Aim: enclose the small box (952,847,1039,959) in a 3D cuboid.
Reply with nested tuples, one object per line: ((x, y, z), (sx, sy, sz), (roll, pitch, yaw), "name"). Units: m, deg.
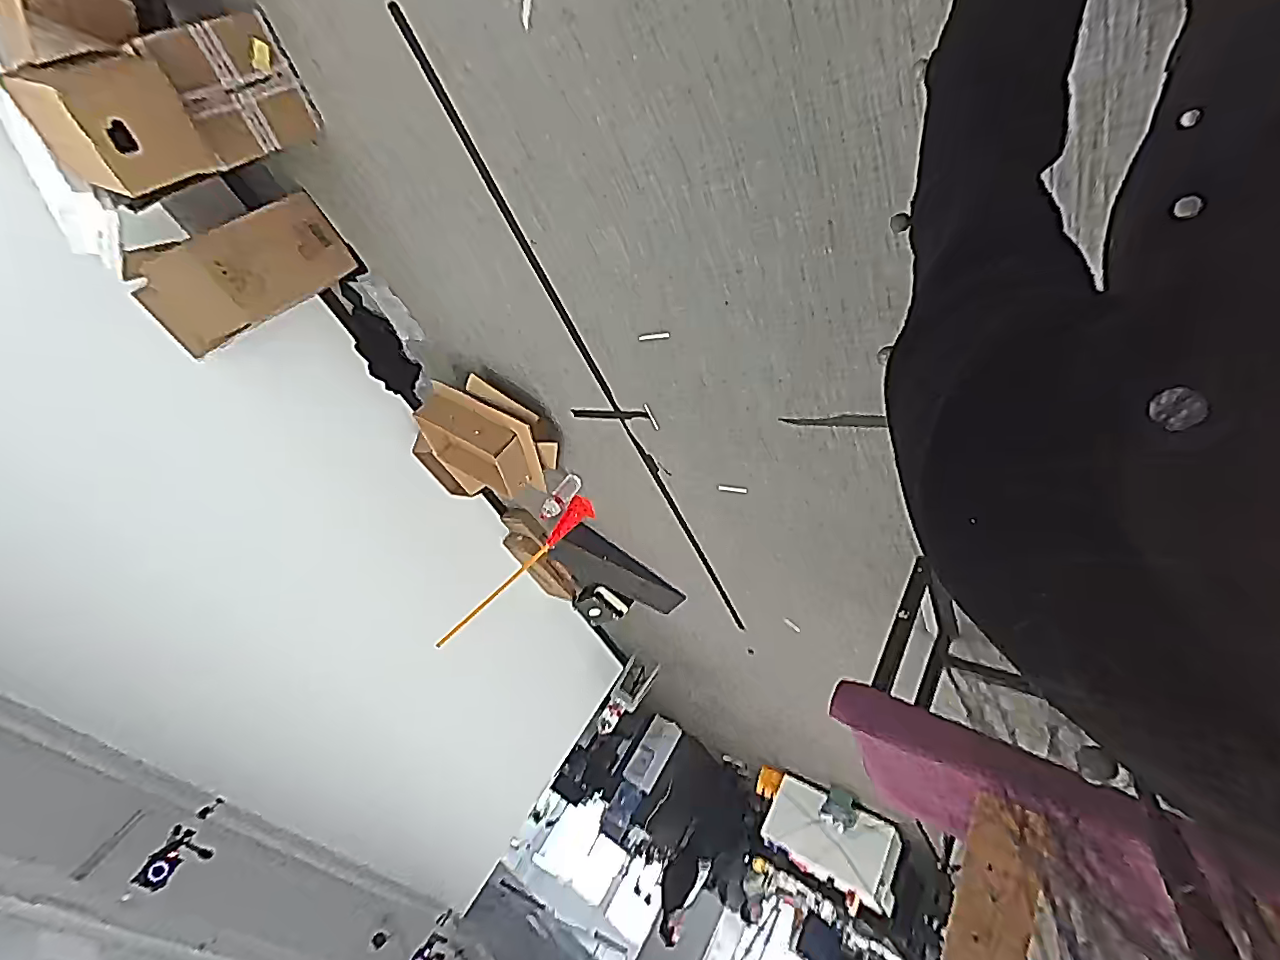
((0.933, 1.108, 1.419), (0.168, 0.176, 0.179), (8, 139, 41), "small box")

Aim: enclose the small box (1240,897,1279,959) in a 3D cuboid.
((1.386, 1.023, 1.130), (0.168, 0.176, 0.179), (5, 138, 46), "small box")

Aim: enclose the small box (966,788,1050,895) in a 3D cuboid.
((1.018, 0.990, 1.495), (0.168, 0.176, 0.179), (7, 139, 42), "small box")
